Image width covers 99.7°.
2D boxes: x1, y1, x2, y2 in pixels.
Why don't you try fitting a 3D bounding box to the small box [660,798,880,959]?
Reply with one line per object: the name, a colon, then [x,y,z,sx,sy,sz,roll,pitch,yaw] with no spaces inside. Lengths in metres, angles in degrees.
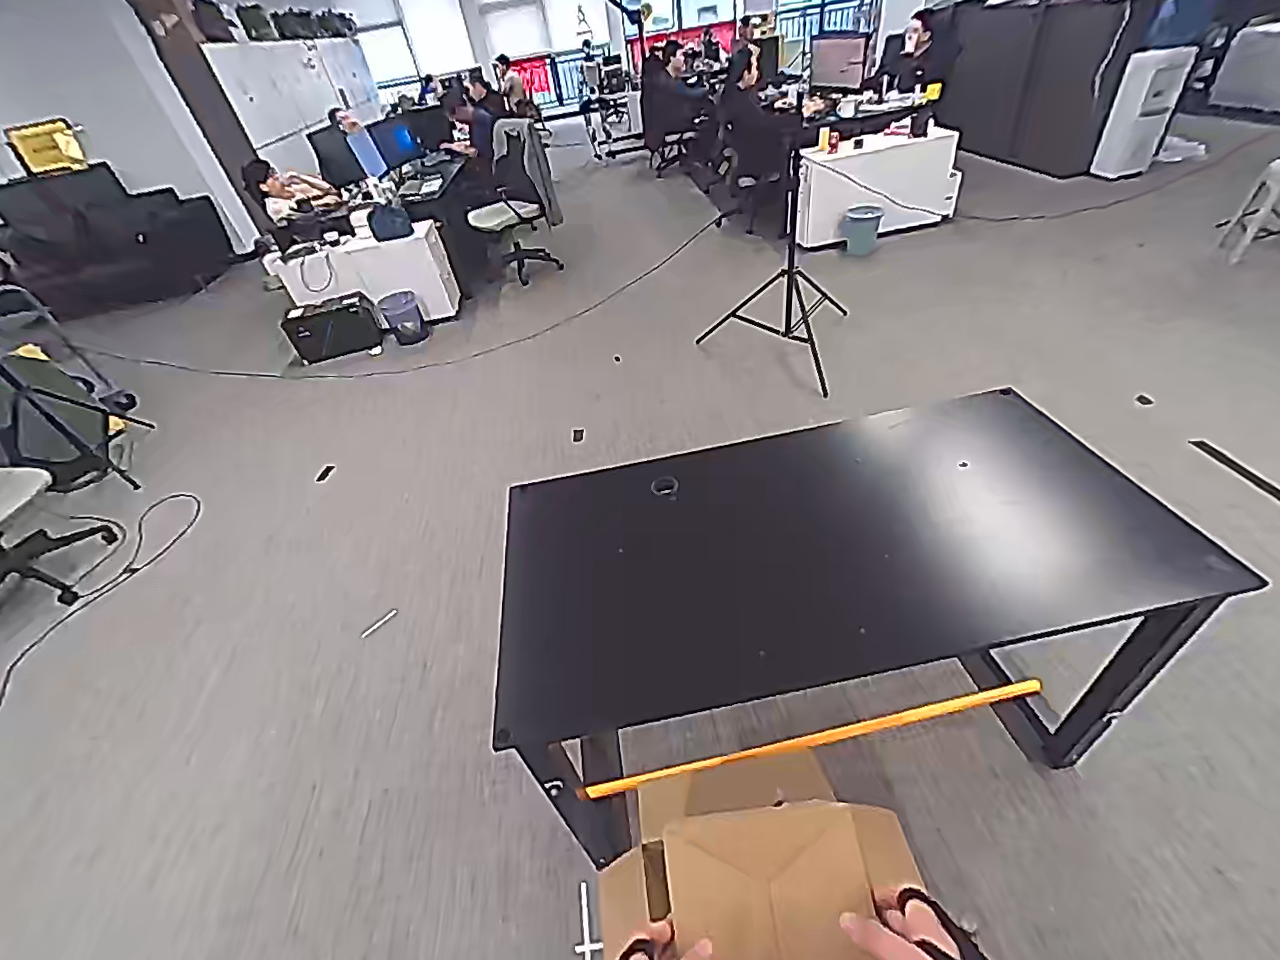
small box: [0.122,0.423,0.534,0.179,0.176,0.168,-9,59,1]
